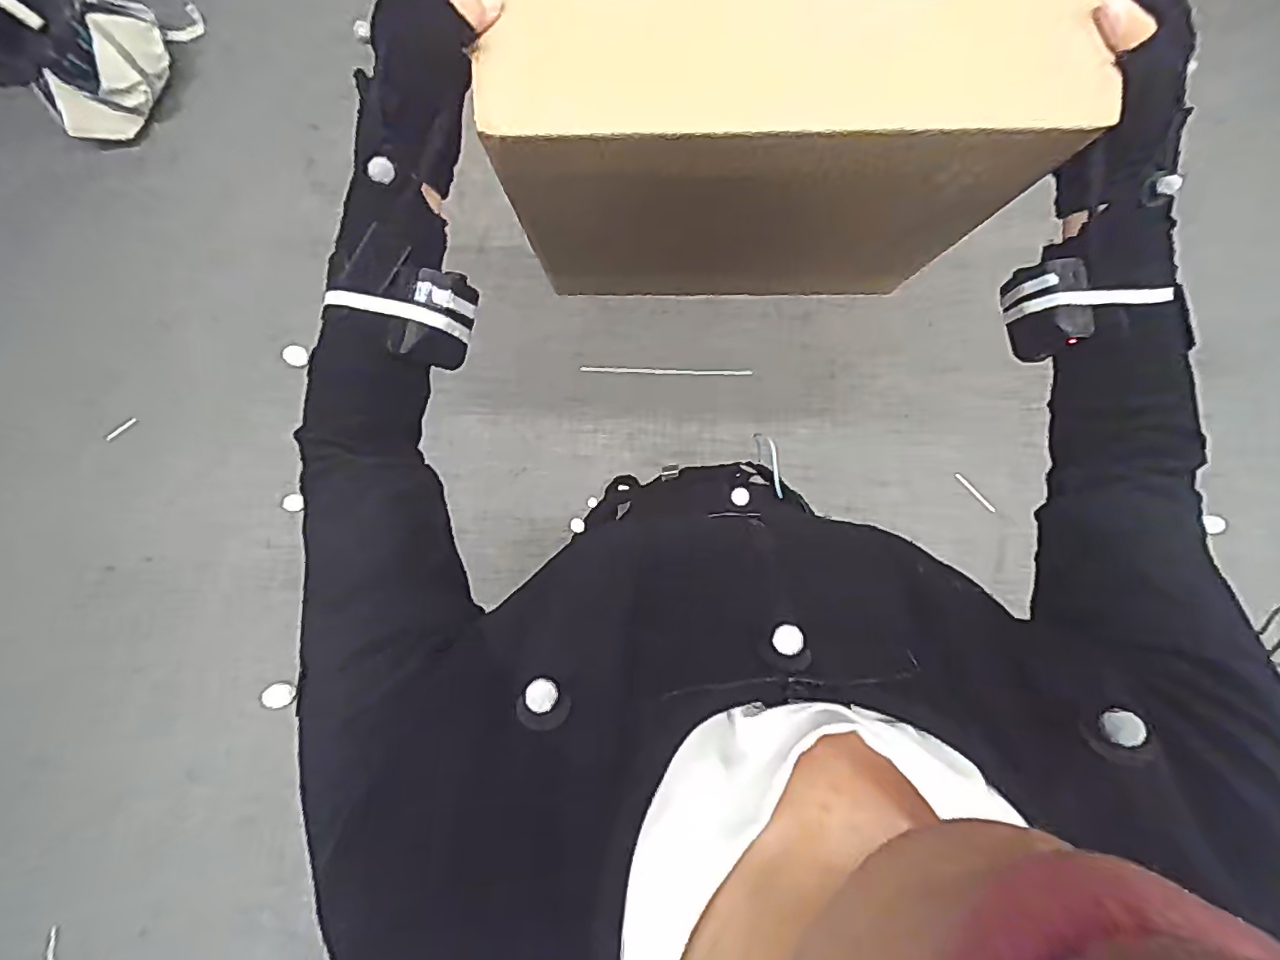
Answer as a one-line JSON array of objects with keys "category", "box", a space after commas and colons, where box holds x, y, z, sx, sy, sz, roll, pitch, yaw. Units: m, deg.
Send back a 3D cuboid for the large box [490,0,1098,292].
[{"category": "large box", "box": [0.095, -0.381, 0.501, 0.408, 0.320, 0.320, -1, 91, -1]}]
